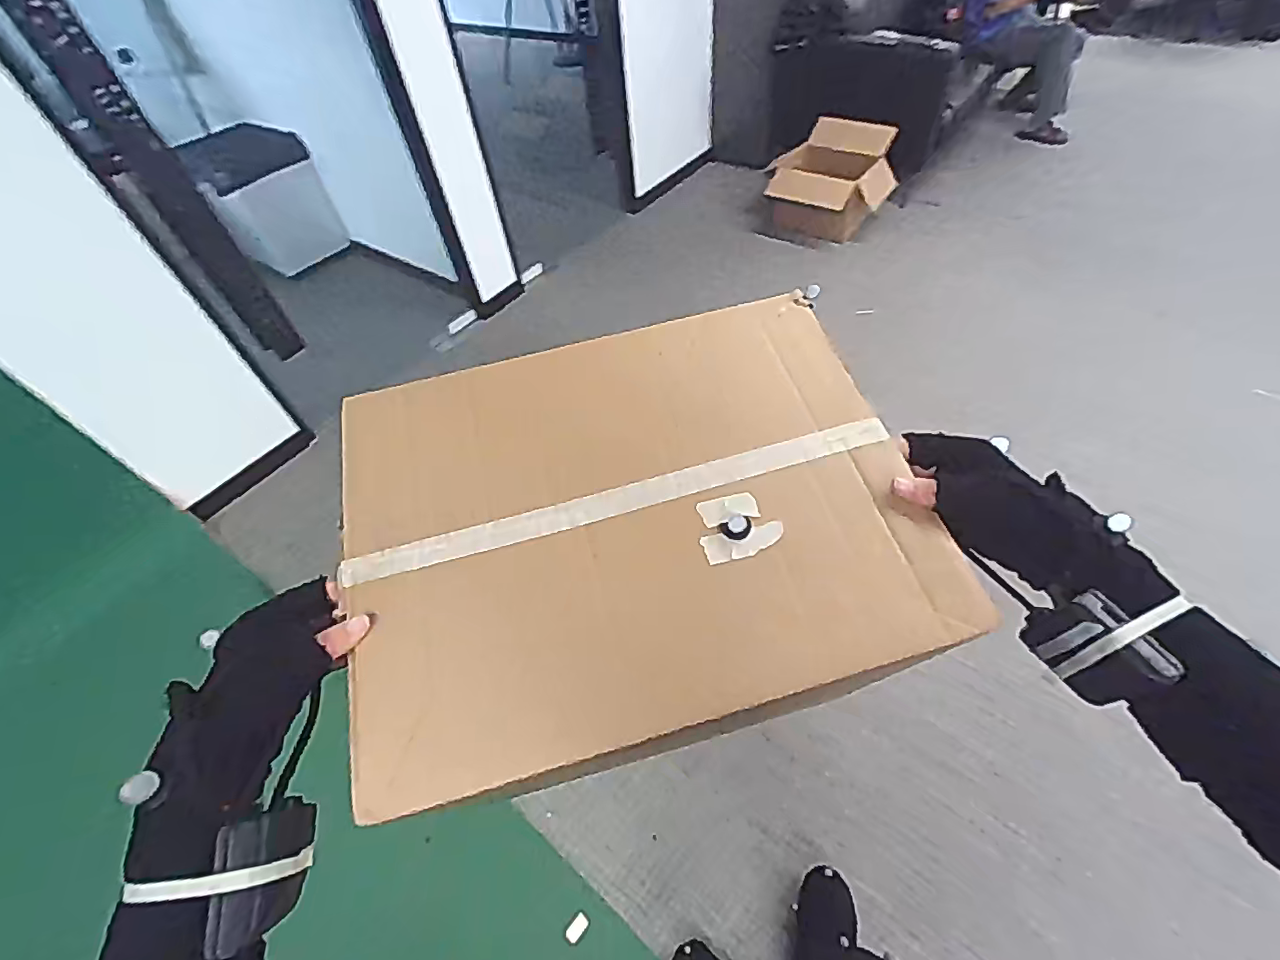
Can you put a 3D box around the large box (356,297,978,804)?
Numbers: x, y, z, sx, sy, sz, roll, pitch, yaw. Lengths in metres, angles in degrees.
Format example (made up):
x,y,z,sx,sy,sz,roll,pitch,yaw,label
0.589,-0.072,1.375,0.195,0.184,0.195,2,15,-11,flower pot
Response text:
x,y,z,sx,sy,sz,roll,pitch,yaw,label
-0.003,0.081,0.531,0.408,0.320,0.320,-14,63,-6,large box
